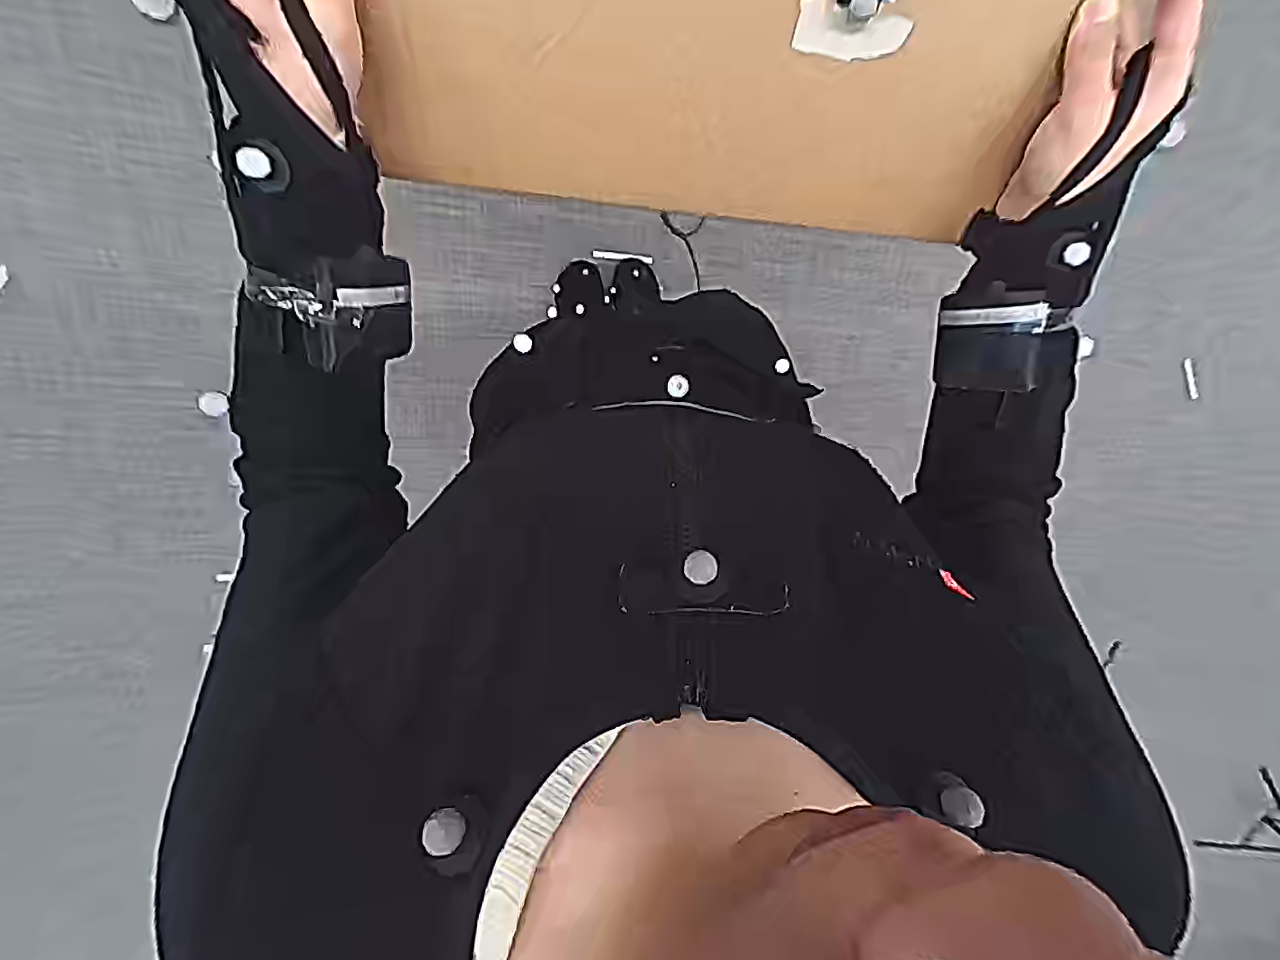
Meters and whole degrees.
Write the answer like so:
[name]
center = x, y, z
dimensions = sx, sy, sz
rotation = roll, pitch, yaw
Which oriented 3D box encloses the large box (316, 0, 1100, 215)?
[large box]
center = 0.037, -0.396, 0.322
dimensions = 0.408, 0.320, 0.320
rotation = 2, 141, -8
